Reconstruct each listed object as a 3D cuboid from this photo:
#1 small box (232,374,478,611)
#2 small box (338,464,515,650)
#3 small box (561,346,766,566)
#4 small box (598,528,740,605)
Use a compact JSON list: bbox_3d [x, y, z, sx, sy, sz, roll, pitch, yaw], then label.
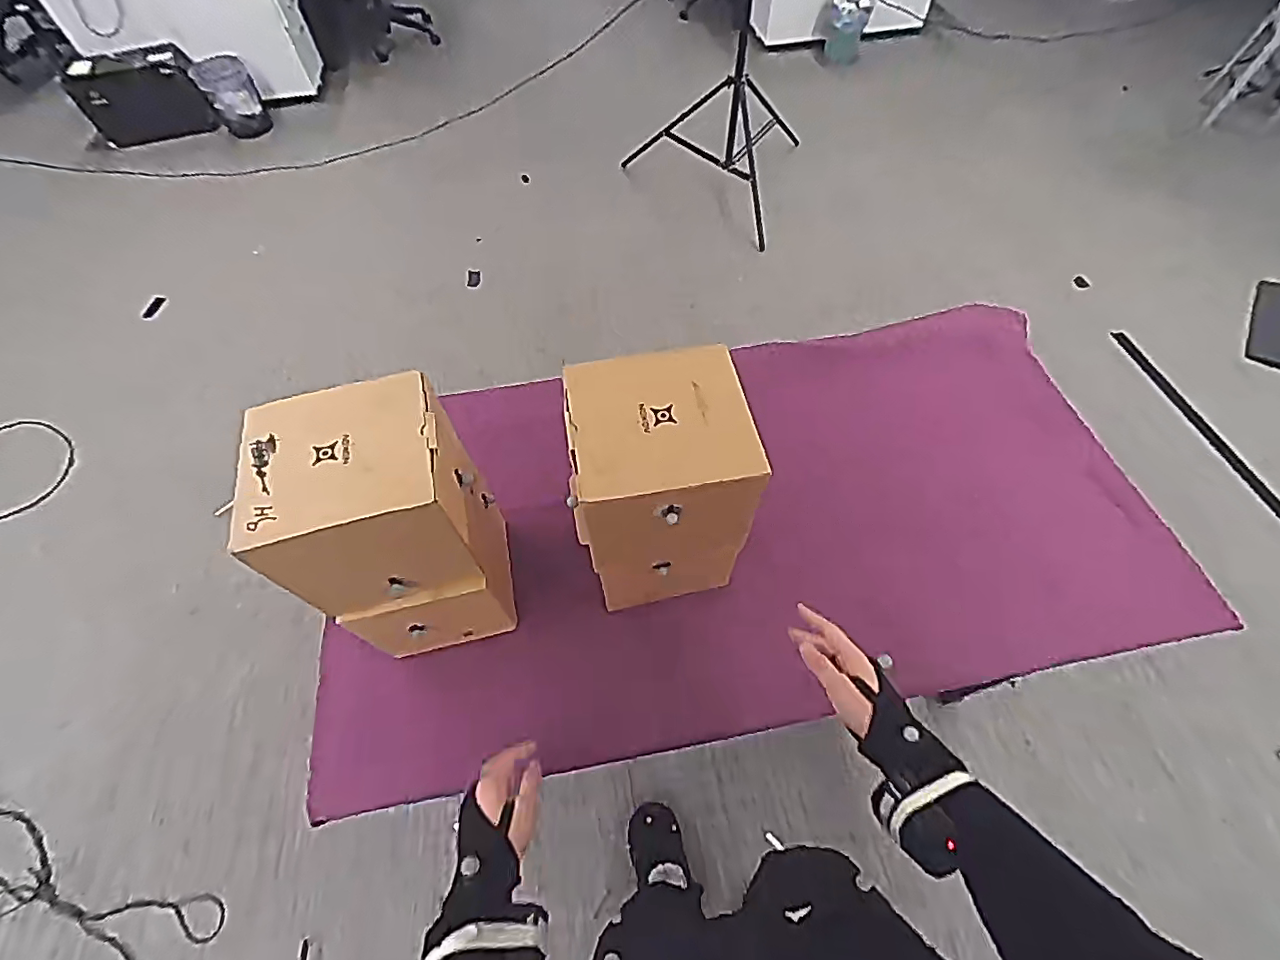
[{"bbox_3d":[-0.279,0.019,0.572,0.179,0.176,0.168,-14,59,-8],"label":"small box"},{"bbox_3d":[-0.269,0.110,0.708,0.168,0.176,0.179,-13,58,-6],"label":"small box"},{"bbox_3d":[0.018,-0.019,0.588,0.179,0.176,0.168,-9,60,-5],"label":"small box"},{"bbox_3d":[0.020,0.055,0.733,0.179,0.176,0.168,-11,59,-6],"label":"small box"}]
